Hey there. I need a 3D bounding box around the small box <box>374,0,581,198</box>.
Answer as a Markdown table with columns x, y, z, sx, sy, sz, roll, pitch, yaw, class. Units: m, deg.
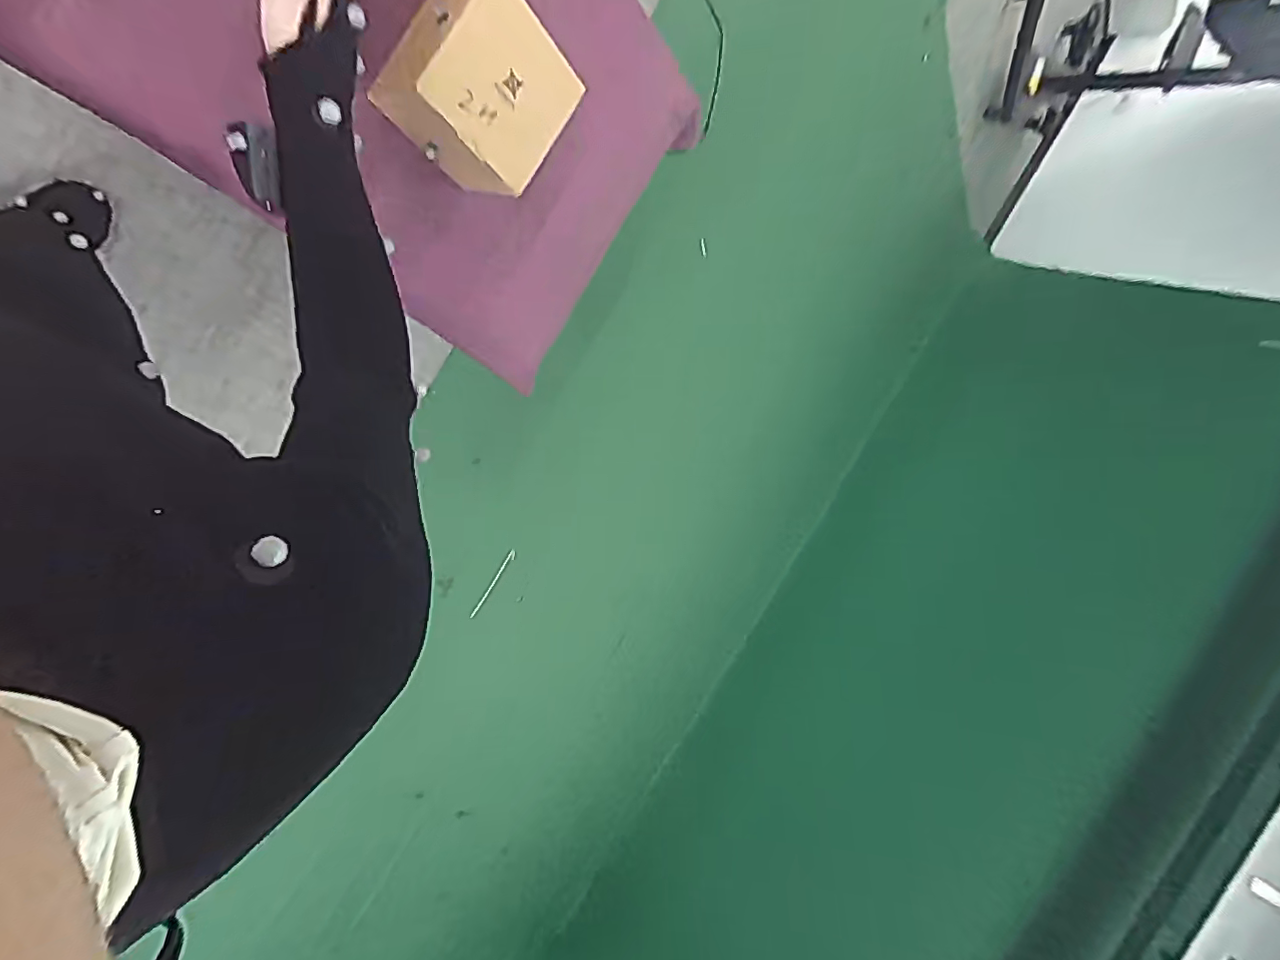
| x | y | z | sx | sy | sz | roll | pitch | yaw | class |
| --- | --- | --- | --- | --- | --- | --- | --- | --- | --- |
| -0.219 | -0.511 | 0.719 | 0.168 | 0.176 | 0.179 | 33 | 89 | -49 | small box |
